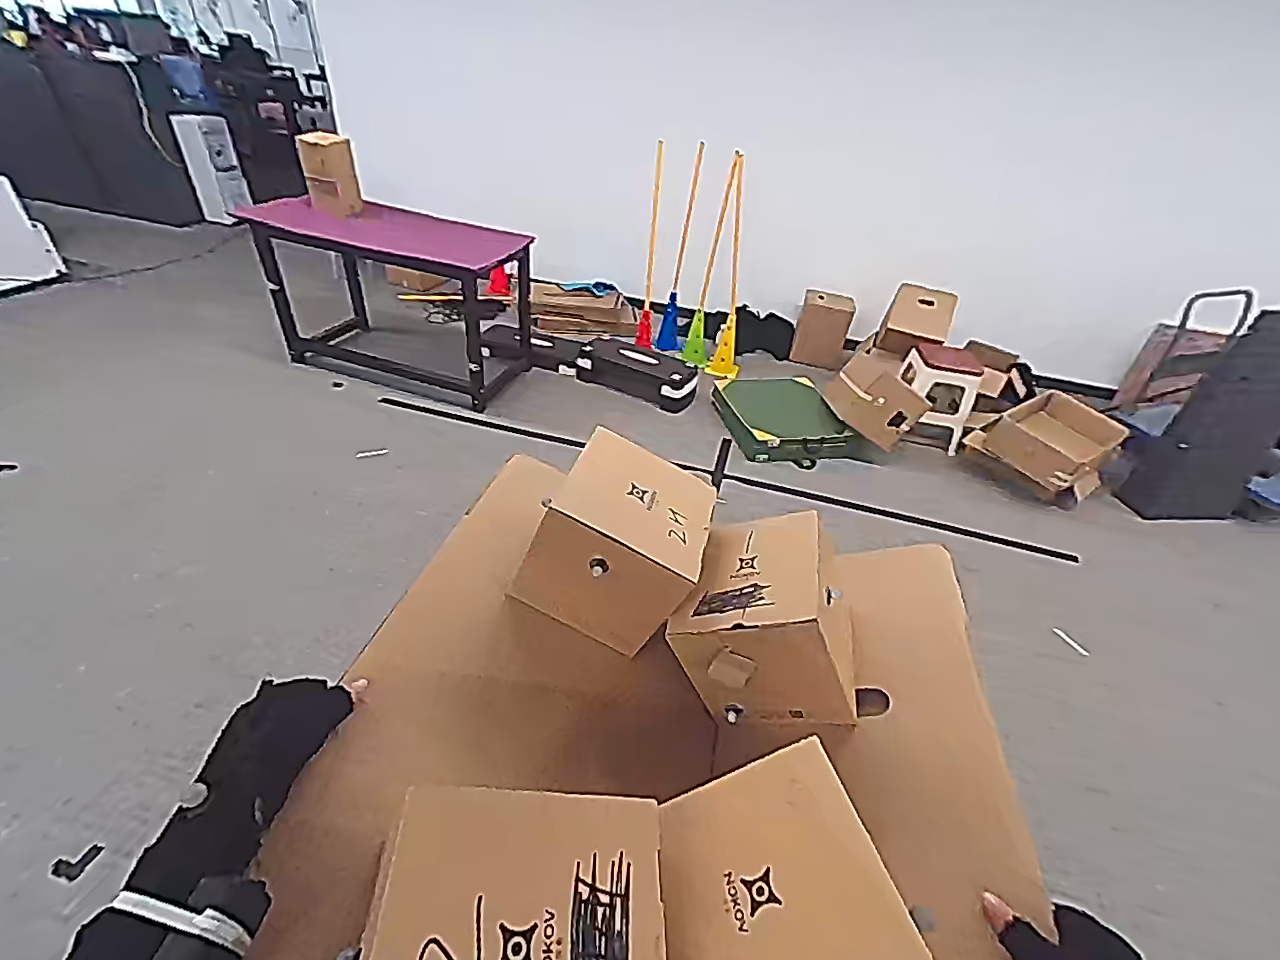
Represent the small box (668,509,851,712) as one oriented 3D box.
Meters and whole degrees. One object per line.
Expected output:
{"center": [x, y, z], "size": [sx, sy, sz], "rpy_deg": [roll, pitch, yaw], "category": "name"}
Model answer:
{"center": [0.156, 0.164, 0.665], "size": [0.168, 0.176, 0.179], "rpy_deg": [-13, 29, 26], "category": "small box"}
